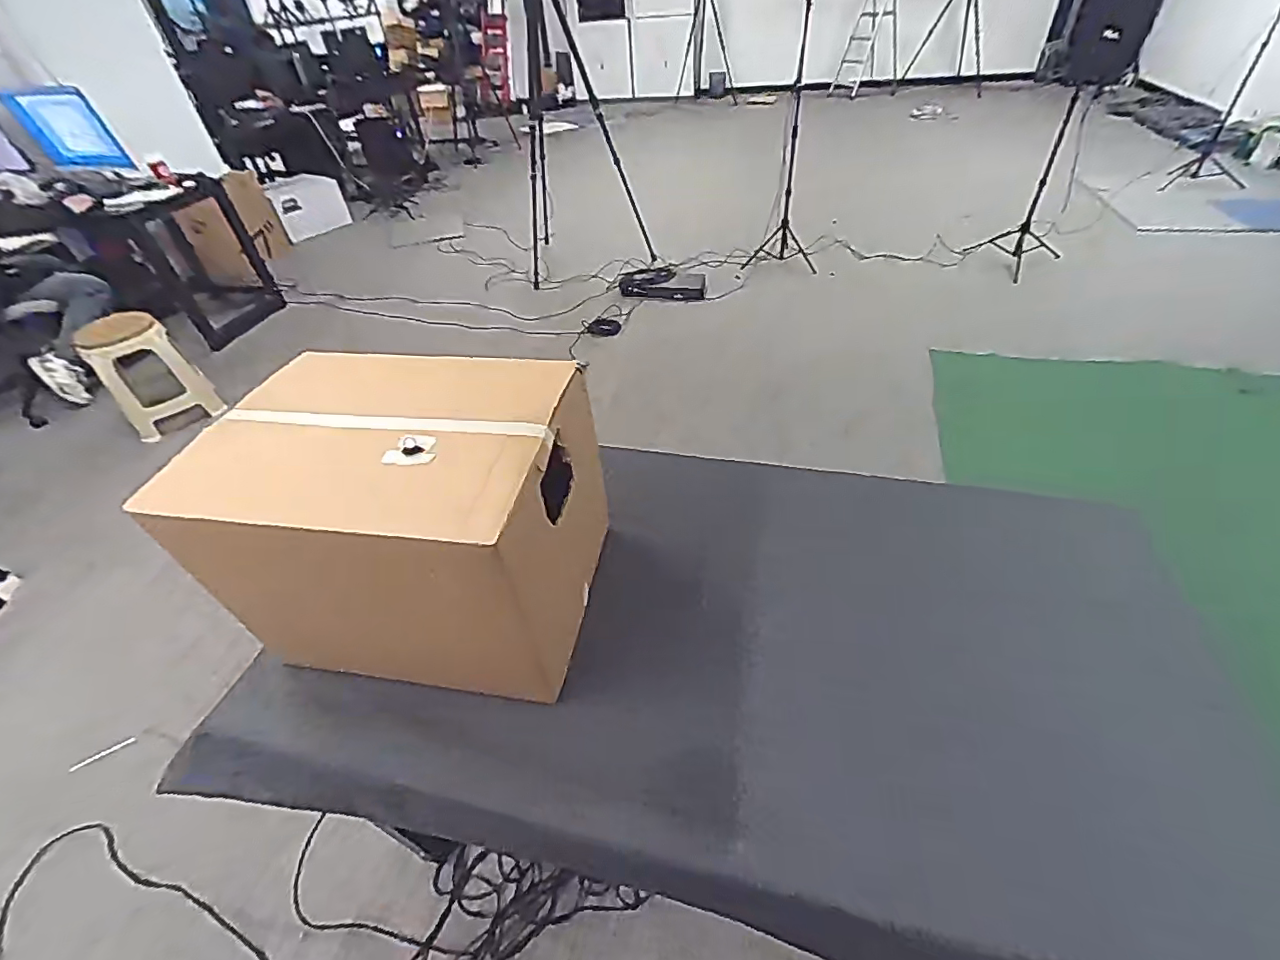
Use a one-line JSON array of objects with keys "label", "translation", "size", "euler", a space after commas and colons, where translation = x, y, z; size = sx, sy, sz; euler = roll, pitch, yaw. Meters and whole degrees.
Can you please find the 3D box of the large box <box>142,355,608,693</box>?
[{"label": "large box", "translation": [-0.278, 0.050, 0.721], "size": [0.408, 0.320, 0.320], "euler": [5, 44, 8]}]
